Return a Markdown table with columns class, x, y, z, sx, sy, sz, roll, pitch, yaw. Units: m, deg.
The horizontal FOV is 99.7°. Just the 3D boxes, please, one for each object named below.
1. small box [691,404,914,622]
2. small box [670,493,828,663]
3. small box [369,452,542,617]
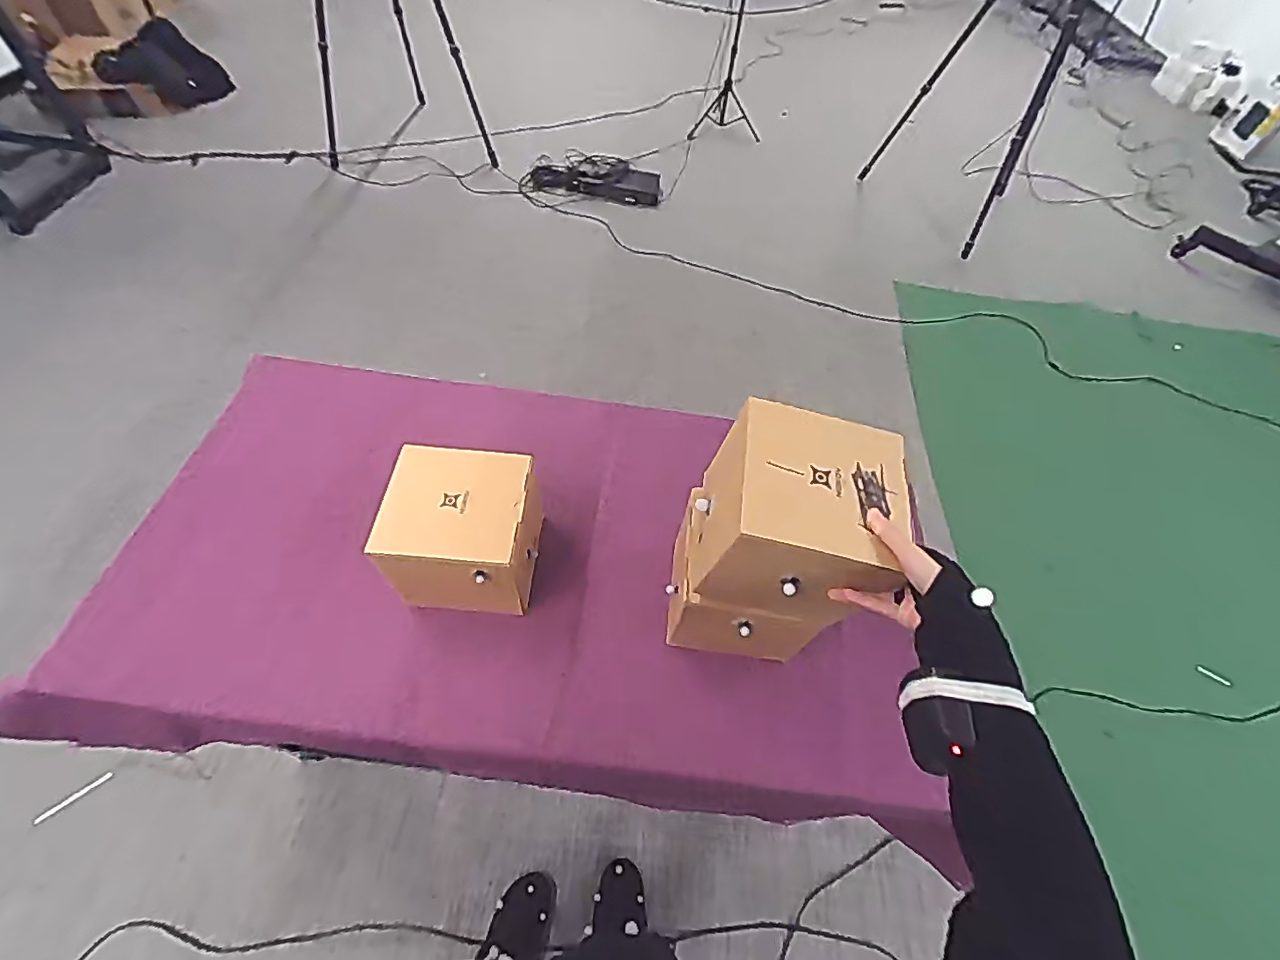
| class | x | y | z | sx | sy | sz | roll | pitch | yaw |
| --- | --- | --- | --- | --- | --- | --- | --- | --- | --- |
| small box | 0.169 | 0.046 | 0.601 | 0.179 | 0.176 | 0.168 | 13 | 57 | -4 |
| small box | 0.140 | 0.141 | 0.746 | 0.179 | 0.176 | 0.168 | 9 | 56 | 0 |
| small box | -0.240 | 0.081 | 0.755 | 0.179 | 0.176 | 0.168 | 5 | 54 | -3 |
